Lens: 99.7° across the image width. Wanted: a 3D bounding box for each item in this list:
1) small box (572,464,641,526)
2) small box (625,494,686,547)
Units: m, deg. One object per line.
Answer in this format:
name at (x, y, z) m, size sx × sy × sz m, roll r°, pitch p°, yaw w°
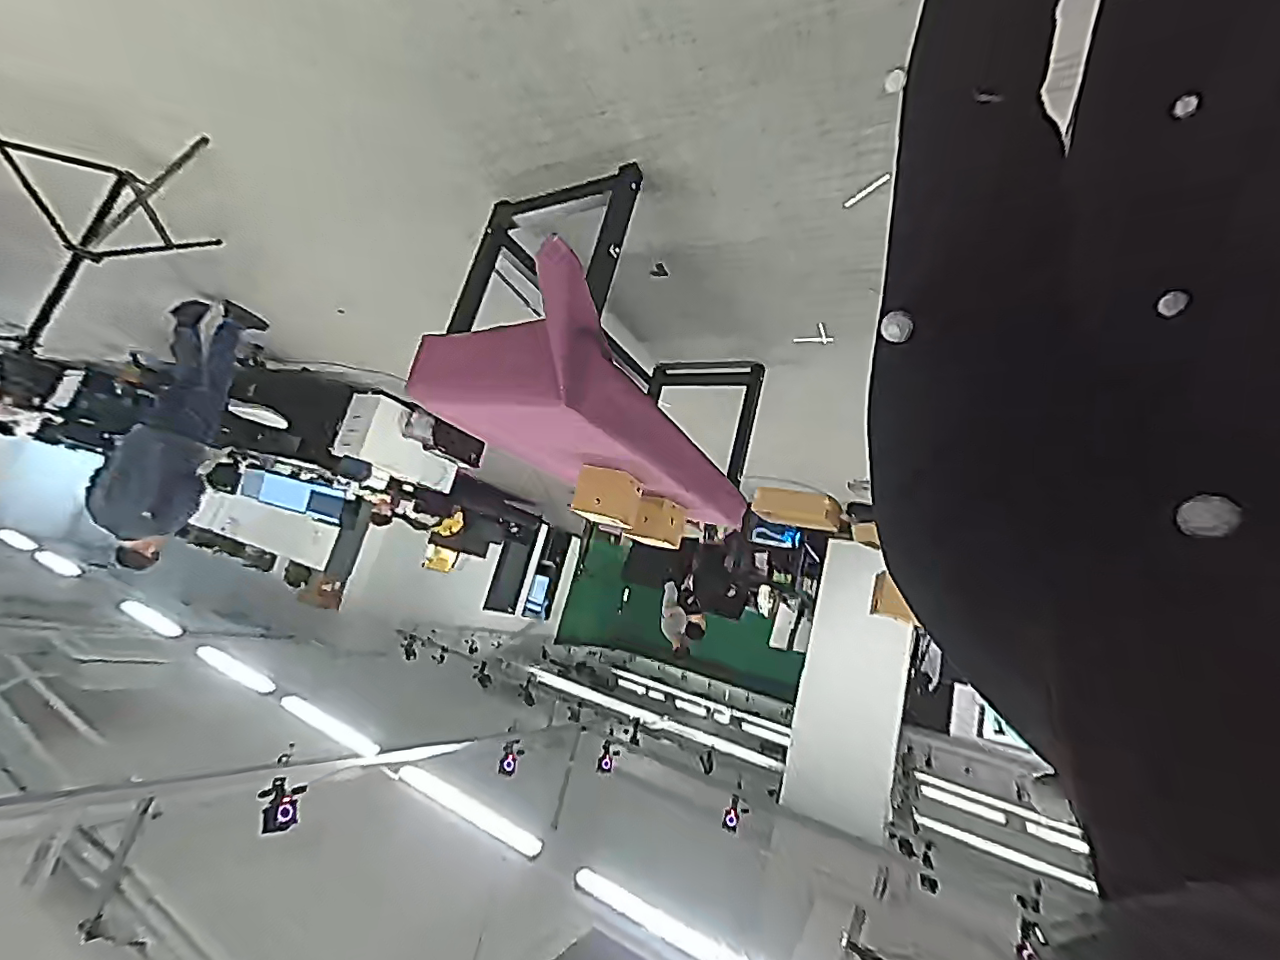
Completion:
small box at (-0.108, 0.051, 1.901) m, size 0.179 × 0.176 × 0.168 m, roll 10°, pitch 166°, yaw 26°
small box at (0.069, 0.159, 2.158) m, size 0.179 × 0.176 × 0.168 m, roll 3°, pitch 162°, yaw 41°
